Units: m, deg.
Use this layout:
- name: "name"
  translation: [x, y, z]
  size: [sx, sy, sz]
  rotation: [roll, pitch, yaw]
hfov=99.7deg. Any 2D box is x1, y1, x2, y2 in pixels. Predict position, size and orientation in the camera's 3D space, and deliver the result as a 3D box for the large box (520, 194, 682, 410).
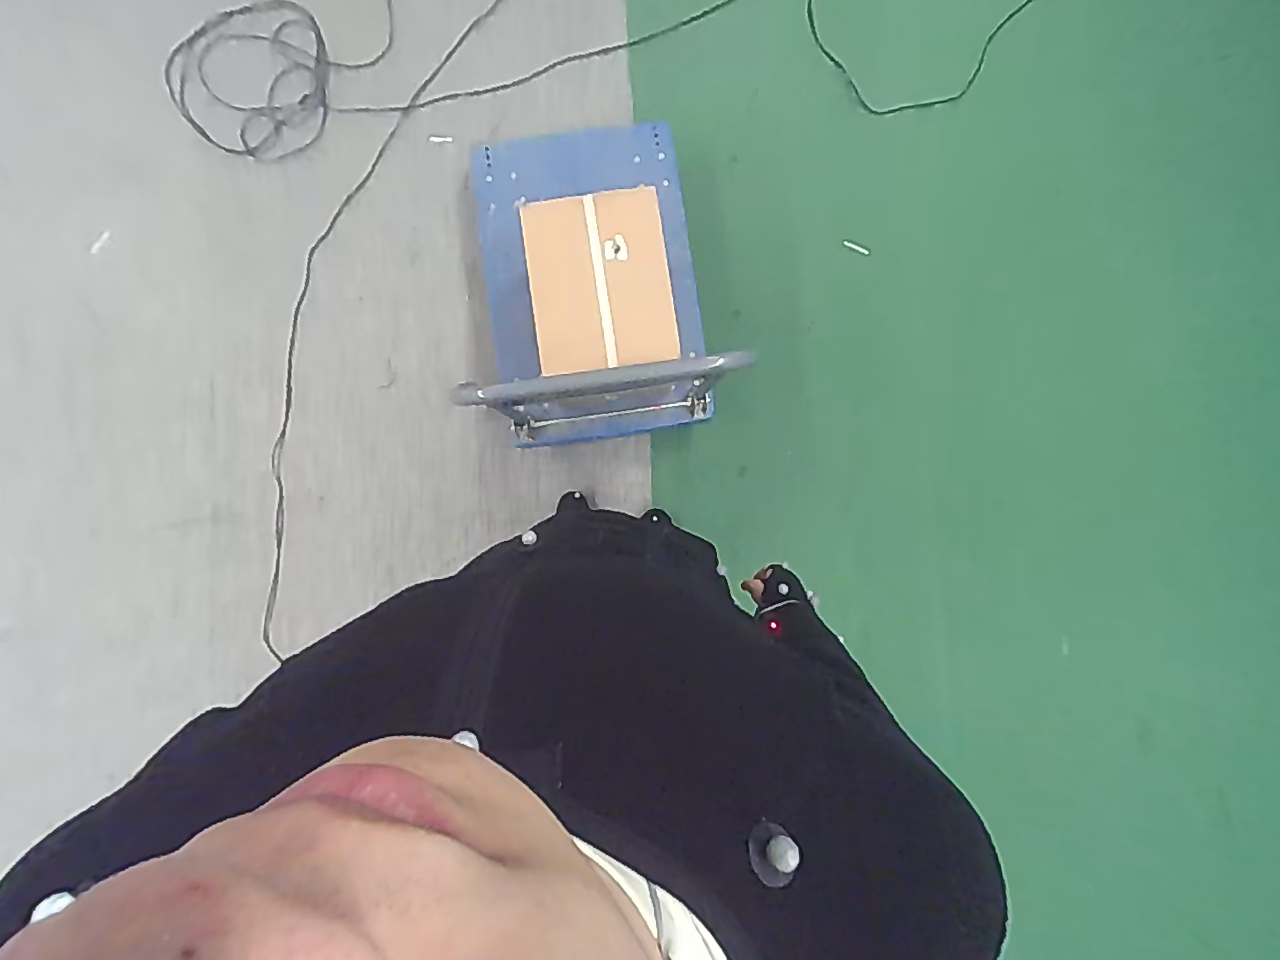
- name: "large box"
  translation: [-0.090, -0.419, 1.354]
  size: [0.320, 0.320, 0.408]
  rotation: [-8, 86, -2]
